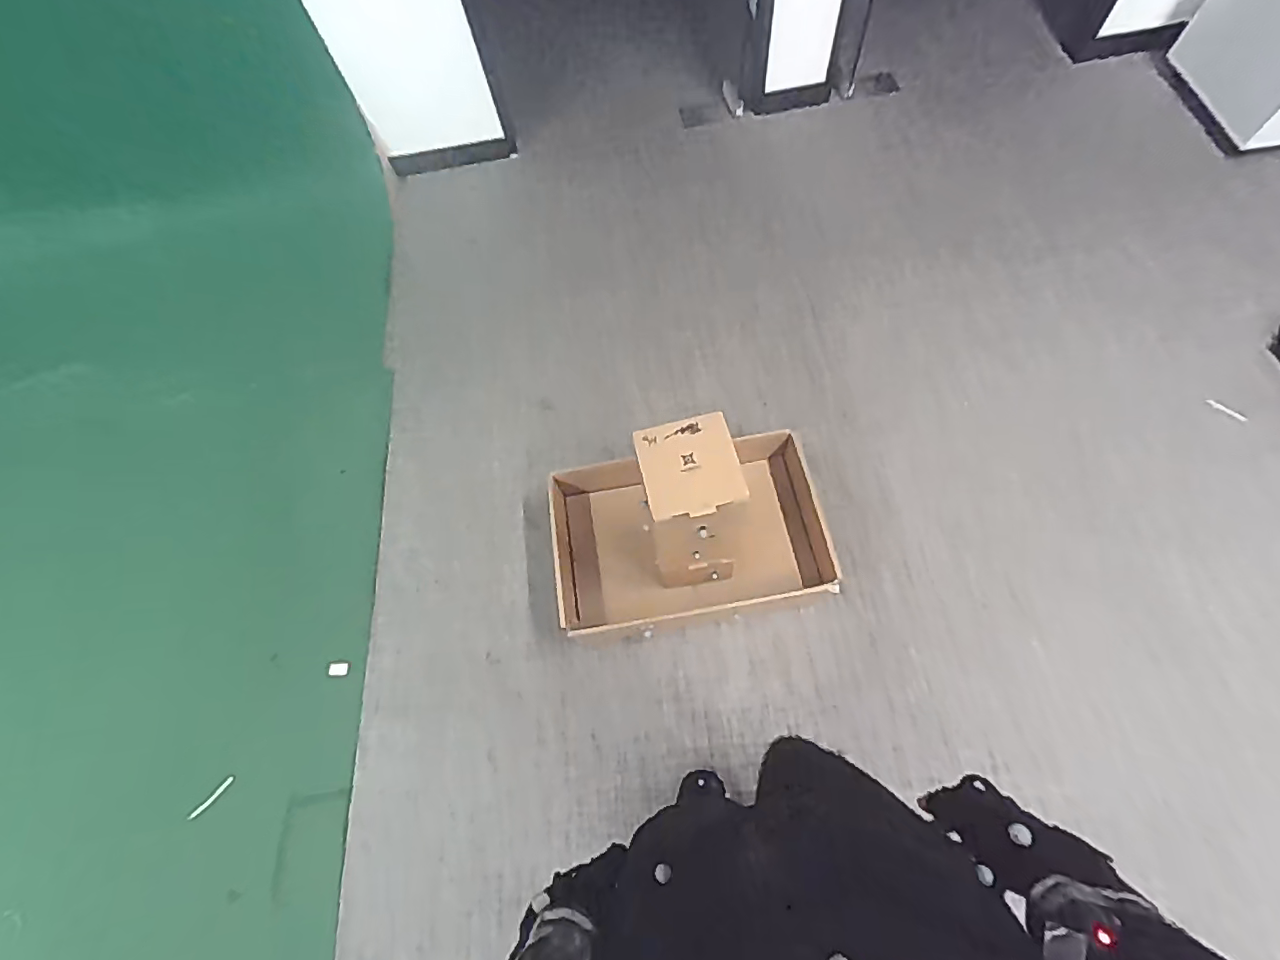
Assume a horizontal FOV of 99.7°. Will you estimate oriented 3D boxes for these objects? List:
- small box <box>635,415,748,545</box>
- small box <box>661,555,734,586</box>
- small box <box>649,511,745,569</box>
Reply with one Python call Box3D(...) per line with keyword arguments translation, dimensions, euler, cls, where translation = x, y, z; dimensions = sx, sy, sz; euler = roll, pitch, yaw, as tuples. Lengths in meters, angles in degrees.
Box3D(translation=(0.094, 0.011, 0.988), dimensions=(0.168, 0.176, 0.179), euler=(-12, 65, 1), cls="small box")
Box3D(translation=(0.127, 0.146, 1.284), dimensions=(0.168, 0.176, 0.179), euler=(-8, 64, 2), cls="small box")
Box3D(translation=(0.111, 0.078, 1.136), dimensions=(0.179, 0.176, 0.168), euler=(-10, 65, 2), cls="small box")
